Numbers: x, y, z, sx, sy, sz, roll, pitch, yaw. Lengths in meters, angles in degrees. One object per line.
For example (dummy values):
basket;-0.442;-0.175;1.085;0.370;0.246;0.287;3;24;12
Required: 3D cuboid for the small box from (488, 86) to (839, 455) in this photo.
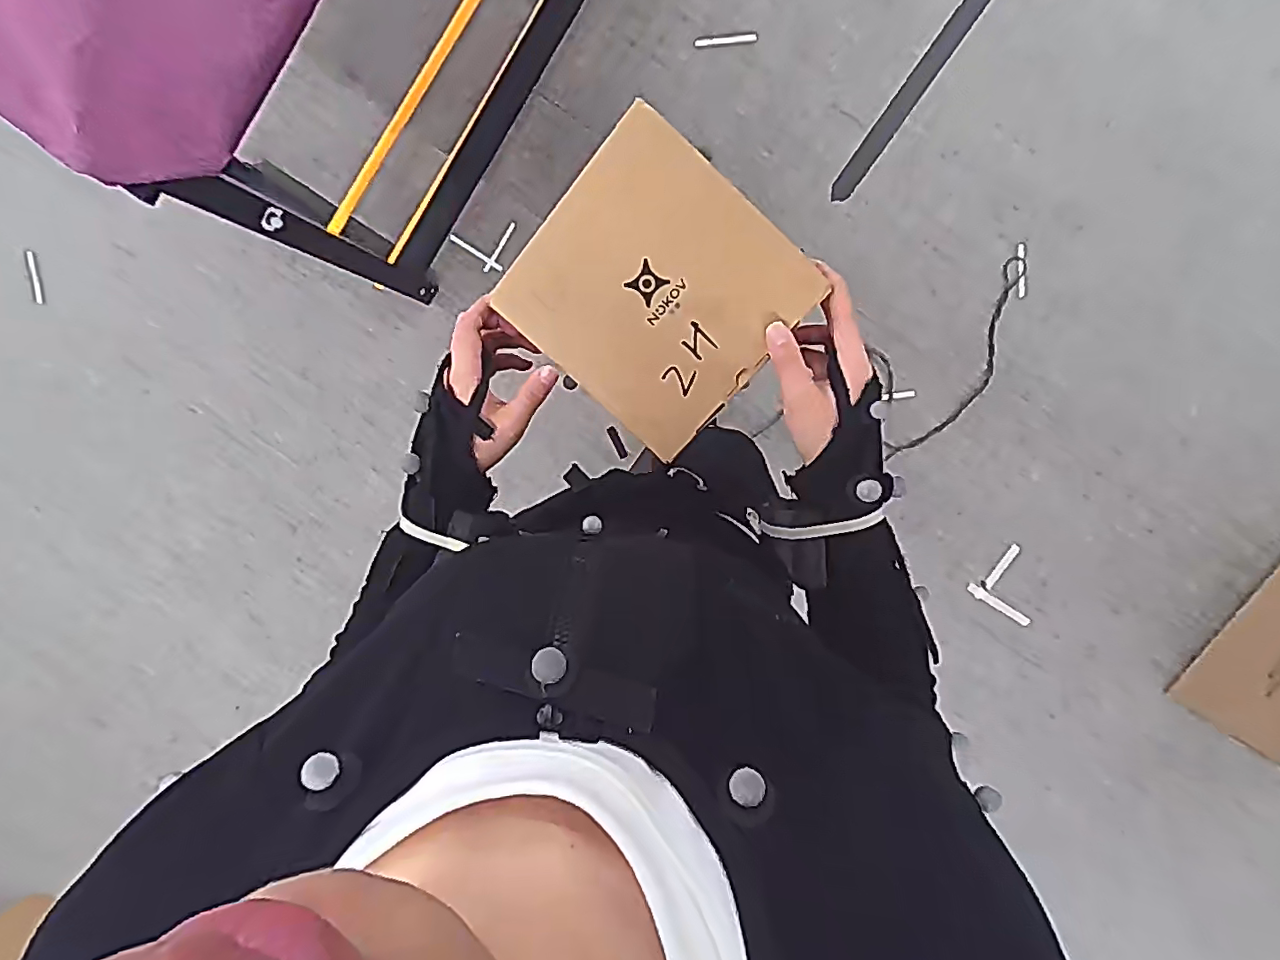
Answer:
small box;0.019;-0.148;0.433;0.179;0.176;0.168;41;105;-6
